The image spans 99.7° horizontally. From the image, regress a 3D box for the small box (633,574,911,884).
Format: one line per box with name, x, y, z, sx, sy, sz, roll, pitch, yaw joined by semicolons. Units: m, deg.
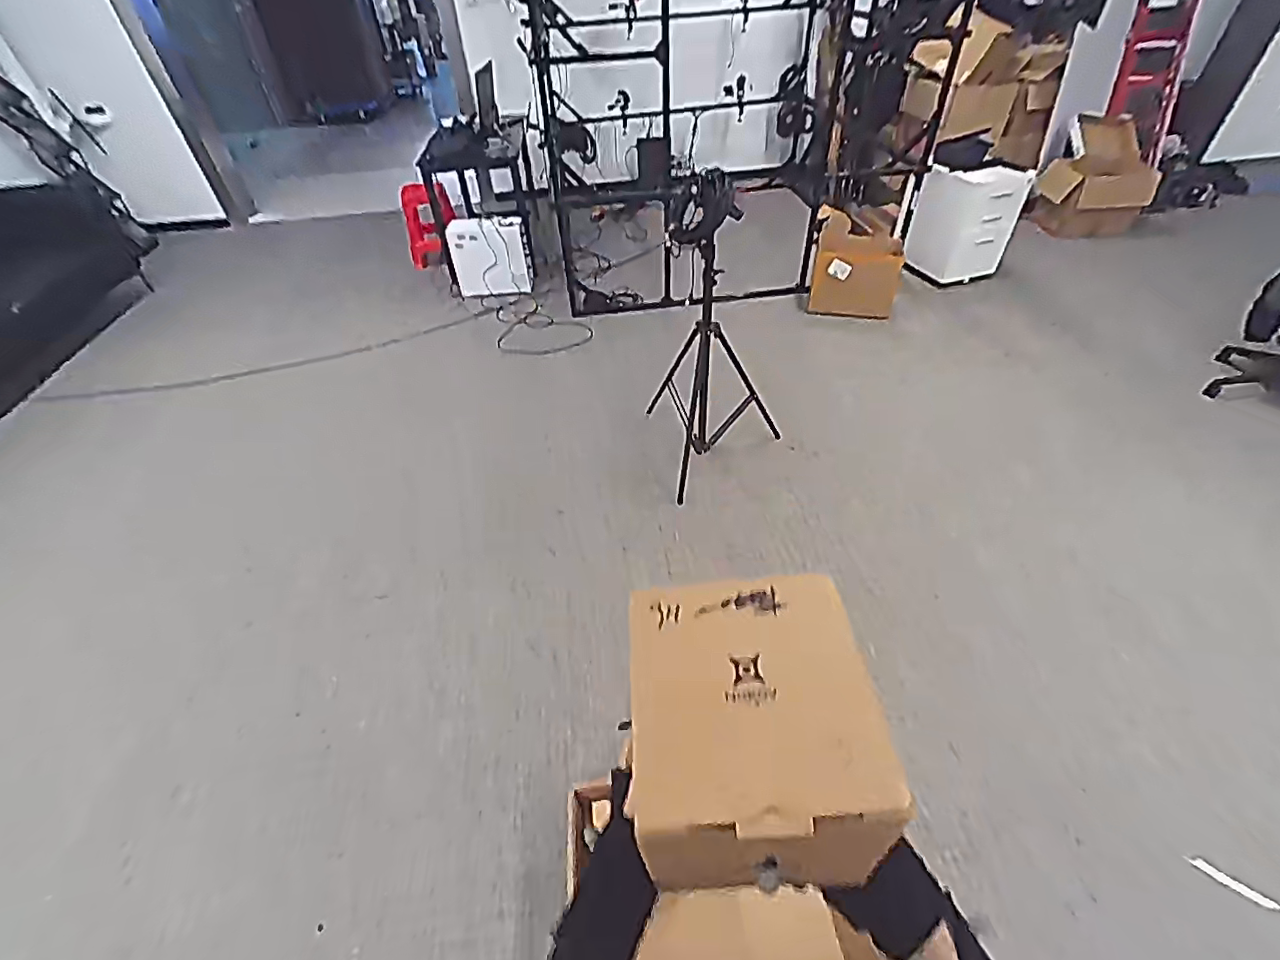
small box;0.086;0.200;0.430;0.168;0.176;0.179;-6;42;3
